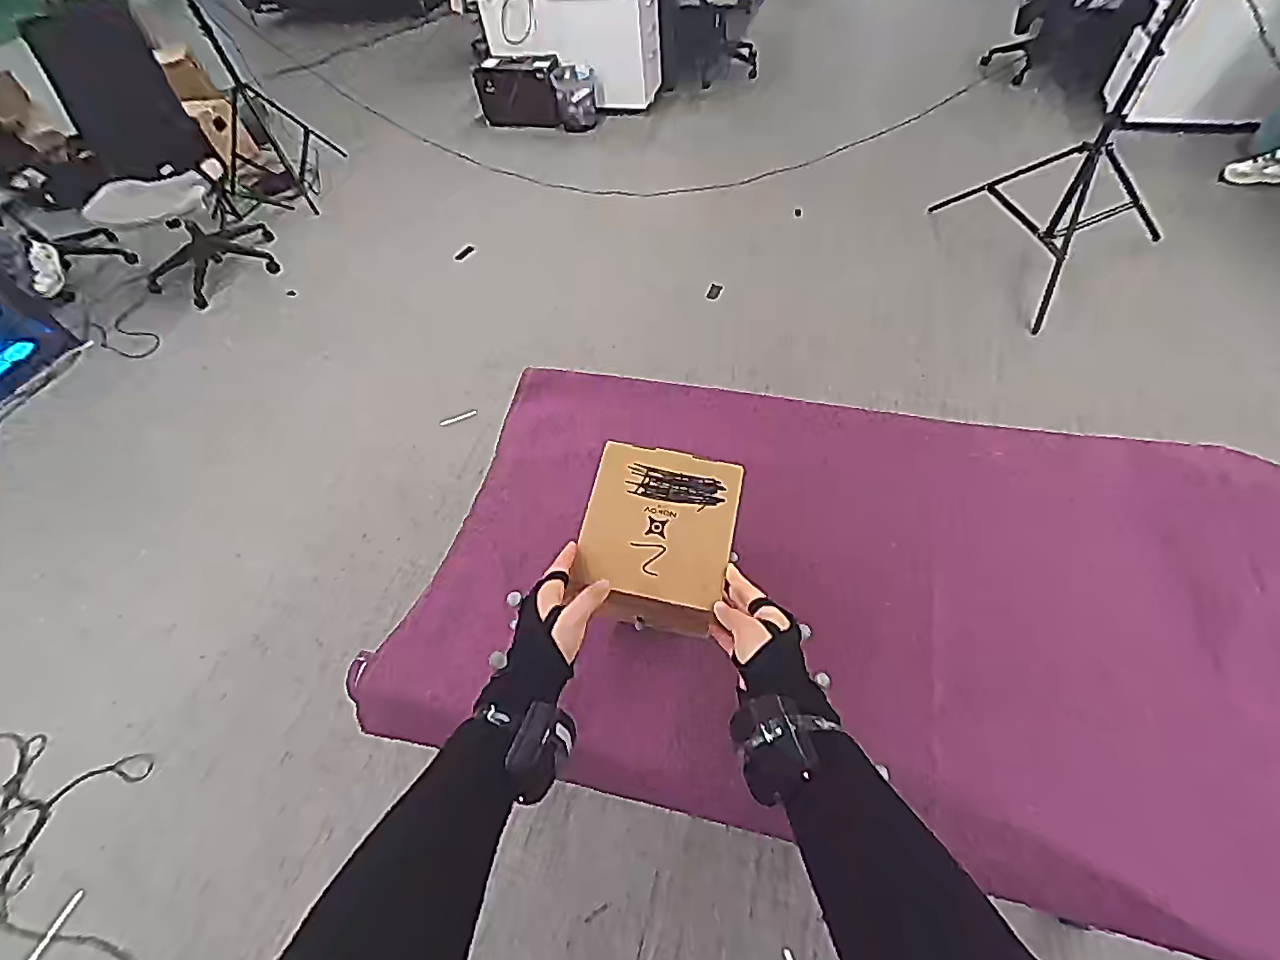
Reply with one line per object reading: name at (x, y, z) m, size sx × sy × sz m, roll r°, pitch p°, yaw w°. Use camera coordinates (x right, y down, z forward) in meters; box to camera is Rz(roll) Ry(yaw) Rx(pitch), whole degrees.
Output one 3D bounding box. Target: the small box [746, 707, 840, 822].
small box at (0.334, 0.635, 1.199) m, size 0.168 × 0.176 × 0.179 m, roll 12°, pitch 56°, yaw 14°
